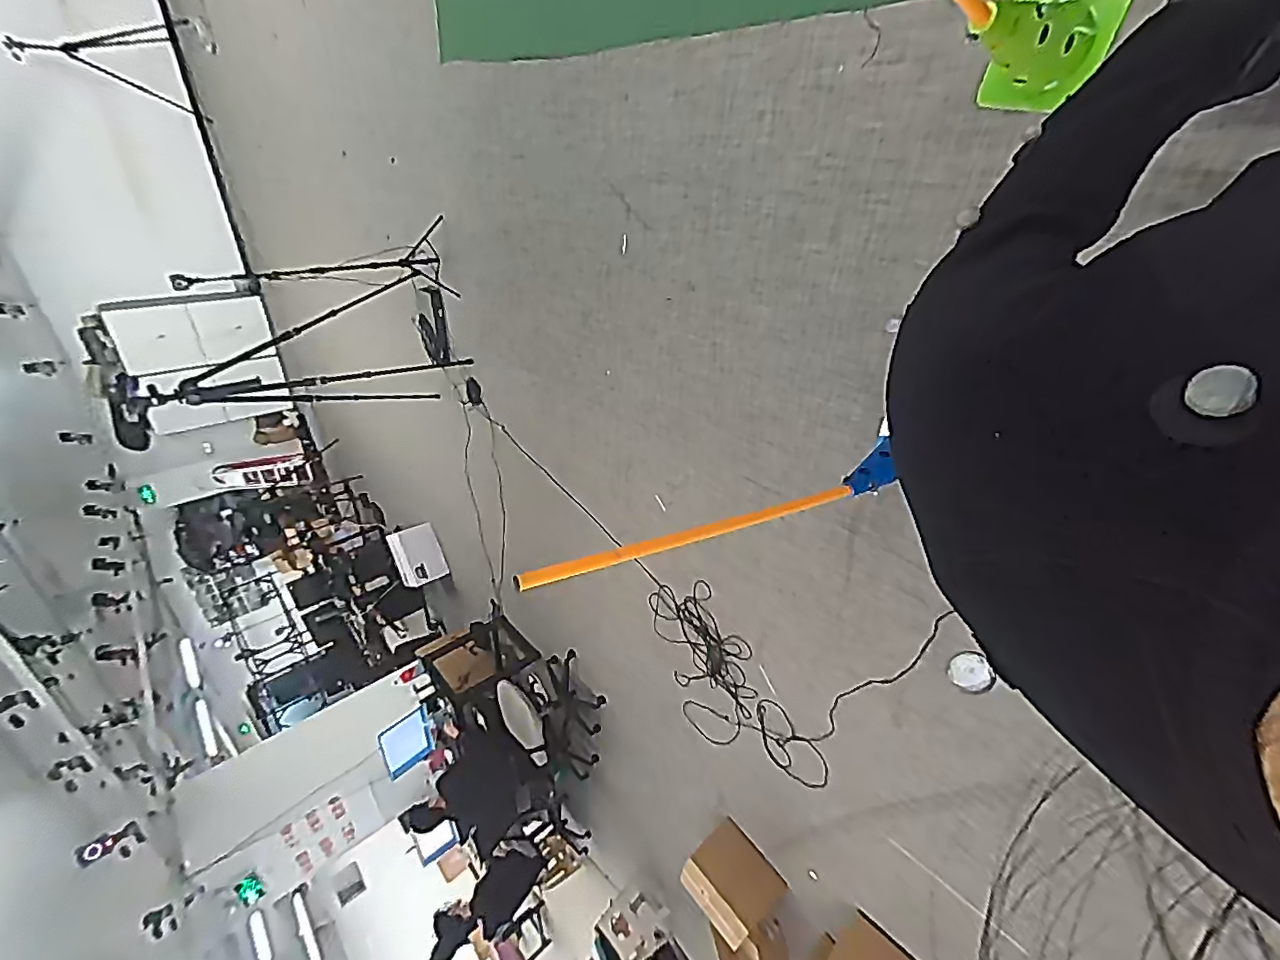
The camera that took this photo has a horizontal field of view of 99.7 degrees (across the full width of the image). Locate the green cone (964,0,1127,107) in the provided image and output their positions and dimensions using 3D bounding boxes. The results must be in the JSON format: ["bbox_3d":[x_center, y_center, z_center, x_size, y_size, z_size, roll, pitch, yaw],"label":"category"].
[{"bbox_3d":[0.674,-0.805,0.960,0.202,0.368,0.200,36,134,36],"label":"green cone"}]
